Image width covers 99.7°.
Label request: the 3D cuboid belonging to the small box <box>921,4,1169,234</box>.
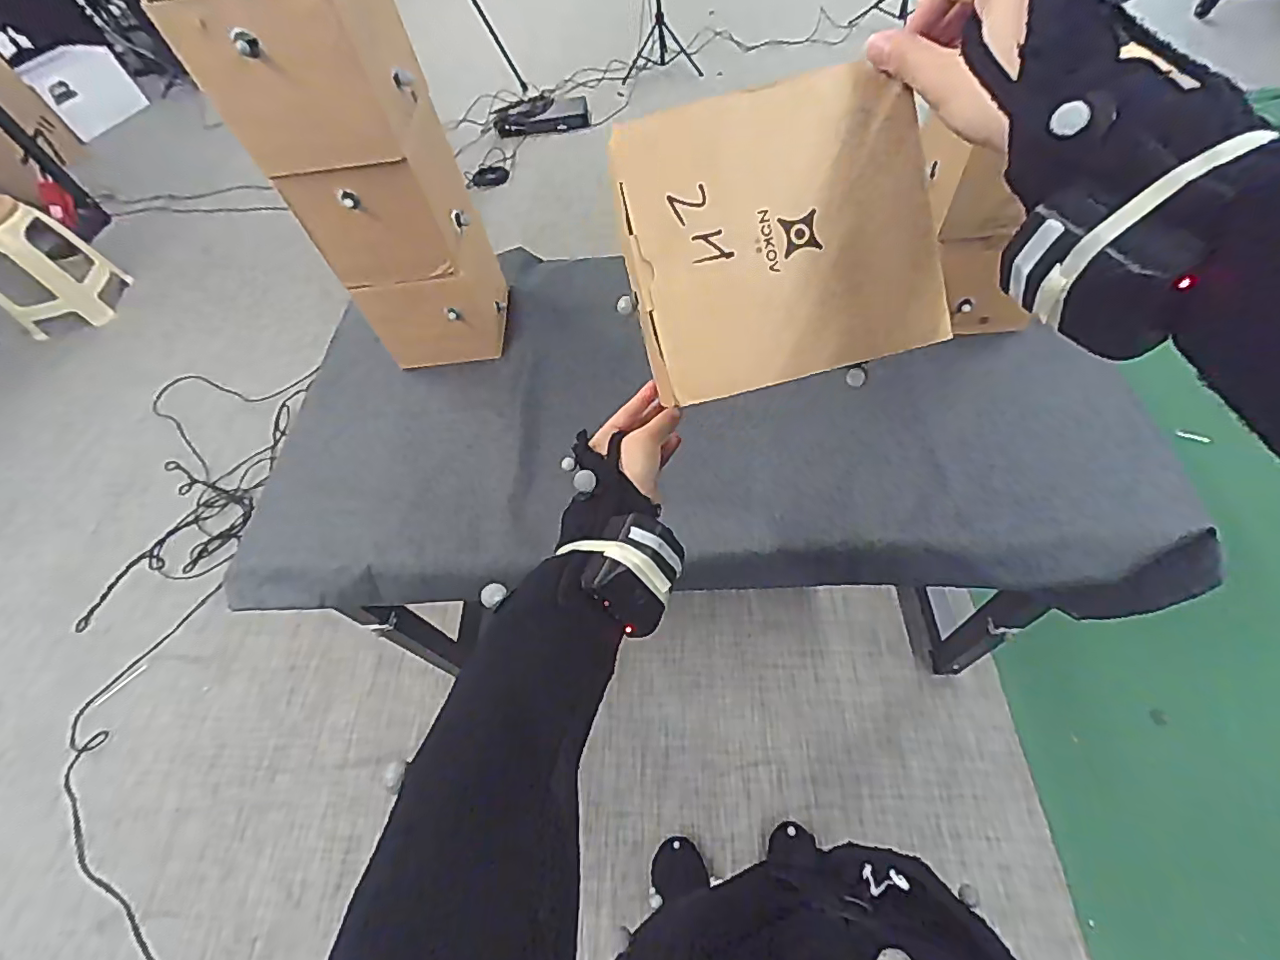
[{"bbox_3d":[0.445,-0.412,0.639,0.168,0.176,0.179,0,60,8],"label":"small box"}]

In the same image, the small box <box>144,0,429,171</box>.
[{"bbox_3d":[-0.364,-0.469,0.599,0.179,0.176,0.168,-4,59,4],"label":"small box"}]

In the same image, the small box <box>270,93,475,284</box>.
[{"bbox_3d":[-0.349,-0.391,0.743,0.179,0.176,0.168,-5,59,3],"label":"small box"}]

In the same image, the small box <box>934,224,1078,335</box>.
[{"bbox_3d":[0.469,-0.331,0.780,0.168,0.176,0.179,-1,59,8],"label":"small box"}]

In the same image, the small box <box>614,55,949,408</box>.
[{"bbox_3d":[0.084,-0.153,0.394,0.179,0.176,0.168,-13,98,2],"label":"small box"}]
